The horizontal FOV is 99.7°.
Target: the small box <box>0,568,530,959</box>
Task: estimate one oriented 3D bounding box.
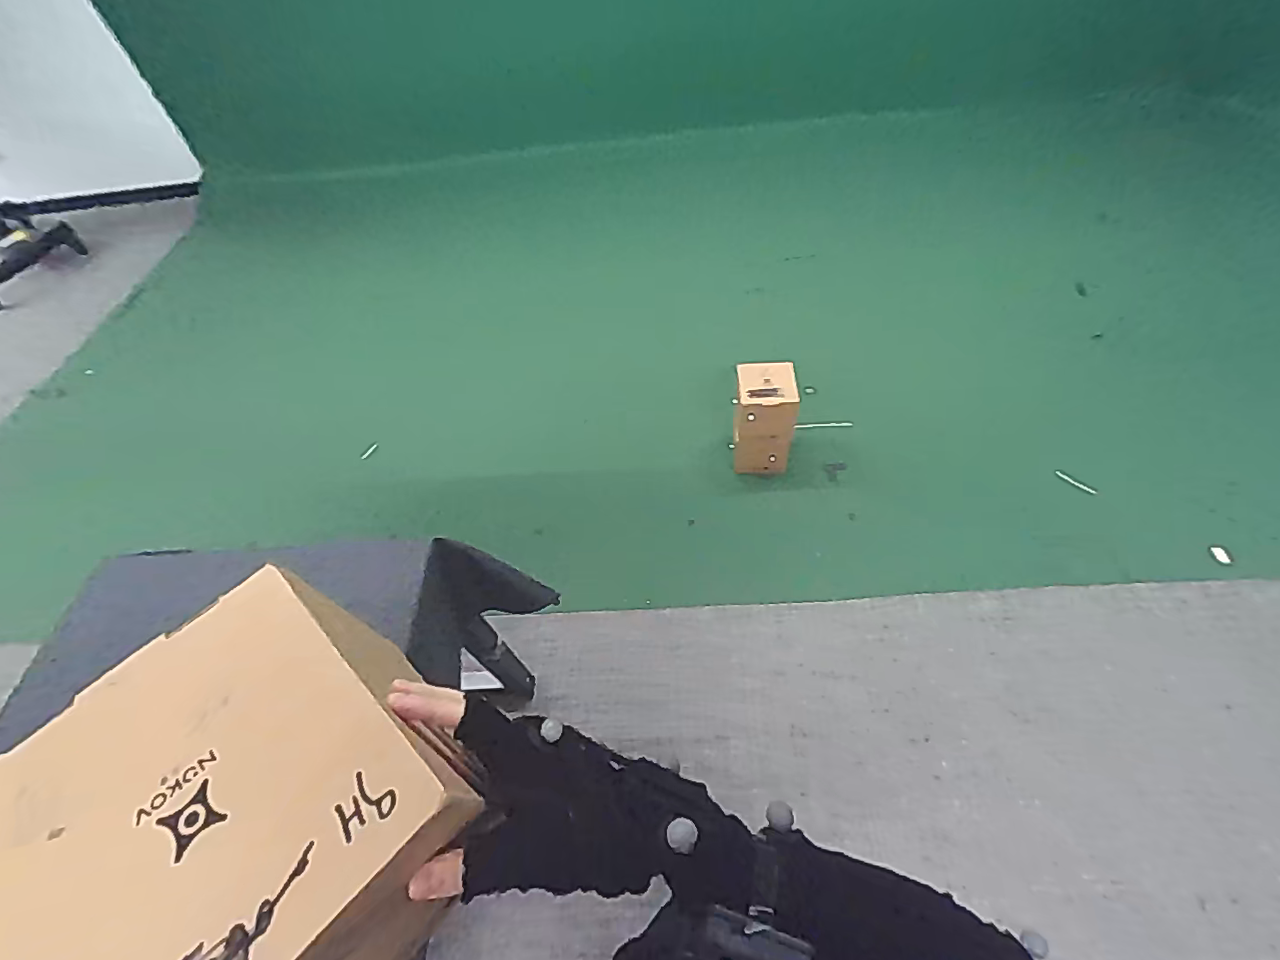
[{"bbox_3d":[-0.194,0.192,0.320,0.179,0.176,0.168,36,66,25],"label":"small box"}]

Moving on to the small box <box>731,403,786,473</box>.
[{"bbox_3d":[0.390,-0.136,1.802,0.168,0.176,0.179,0,54,7],"label":"small box"}]
